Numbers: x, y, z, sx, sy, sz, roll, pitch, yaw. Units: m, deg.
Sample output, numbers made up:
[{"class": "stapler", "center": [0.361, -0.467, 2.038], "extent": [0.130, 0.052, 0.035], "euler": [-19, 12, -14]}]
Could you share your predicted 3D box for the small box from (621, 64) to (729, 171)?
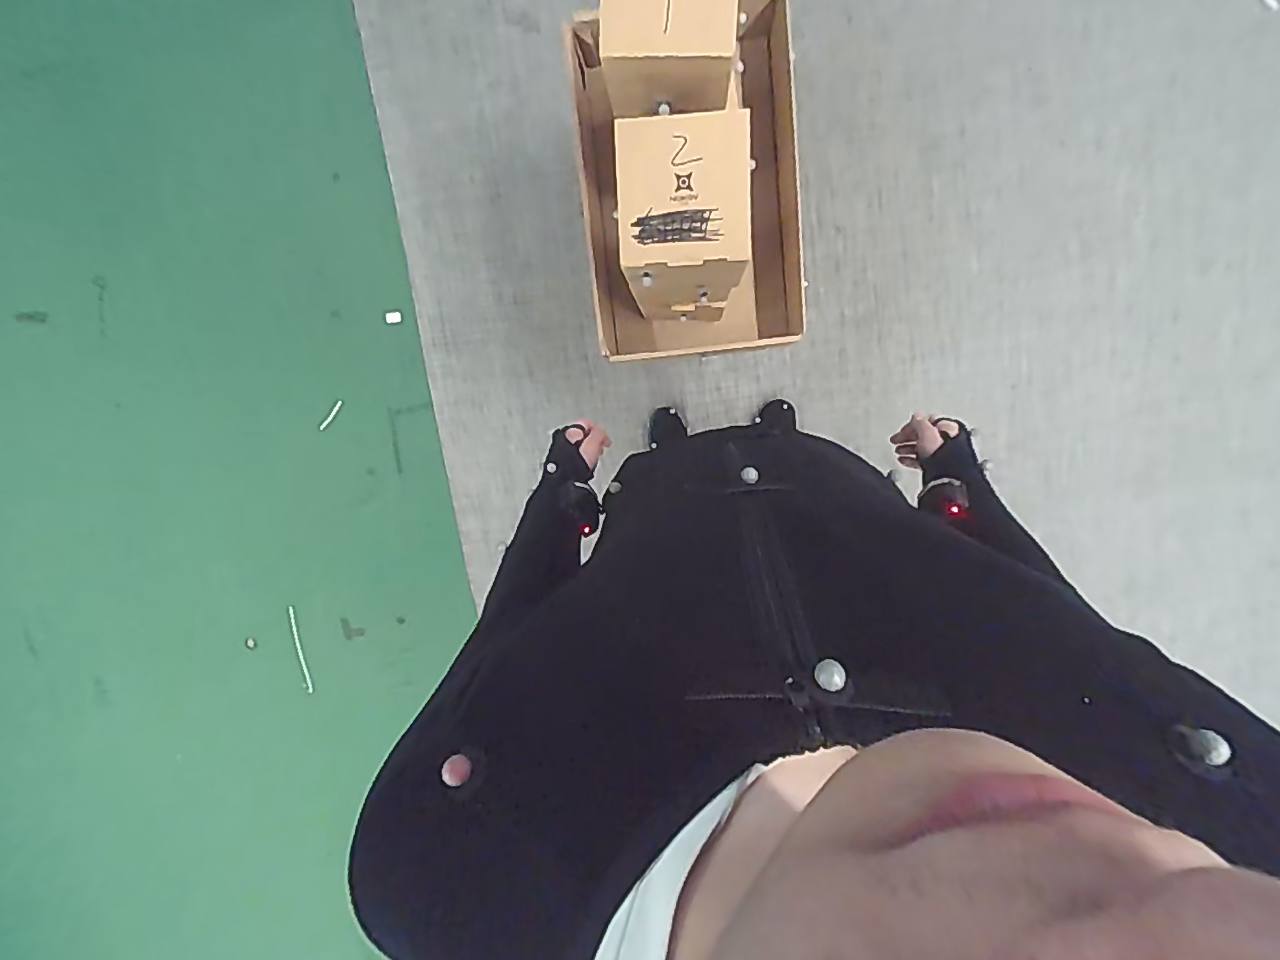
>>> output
[{"class": "small box", "center": [0.048, -0.632, 0.877], "extent": [0.168, 0.176, 0.179], "euler": [-7, 101, 5]}]

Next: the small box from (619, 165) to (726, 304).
[{"class": "small box", "center": [0.058, -0.398, 0.909], "extent": [0.168, 0.176, 0.179], "euler": [-2, 97, 4]}]

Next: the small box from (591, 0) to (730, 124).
[{"class": "small box", "center": [0.031, -0.607, 0.715], "extent": [0.168, 0.176, 0.179], "euler": [3, 102, 4]}]
